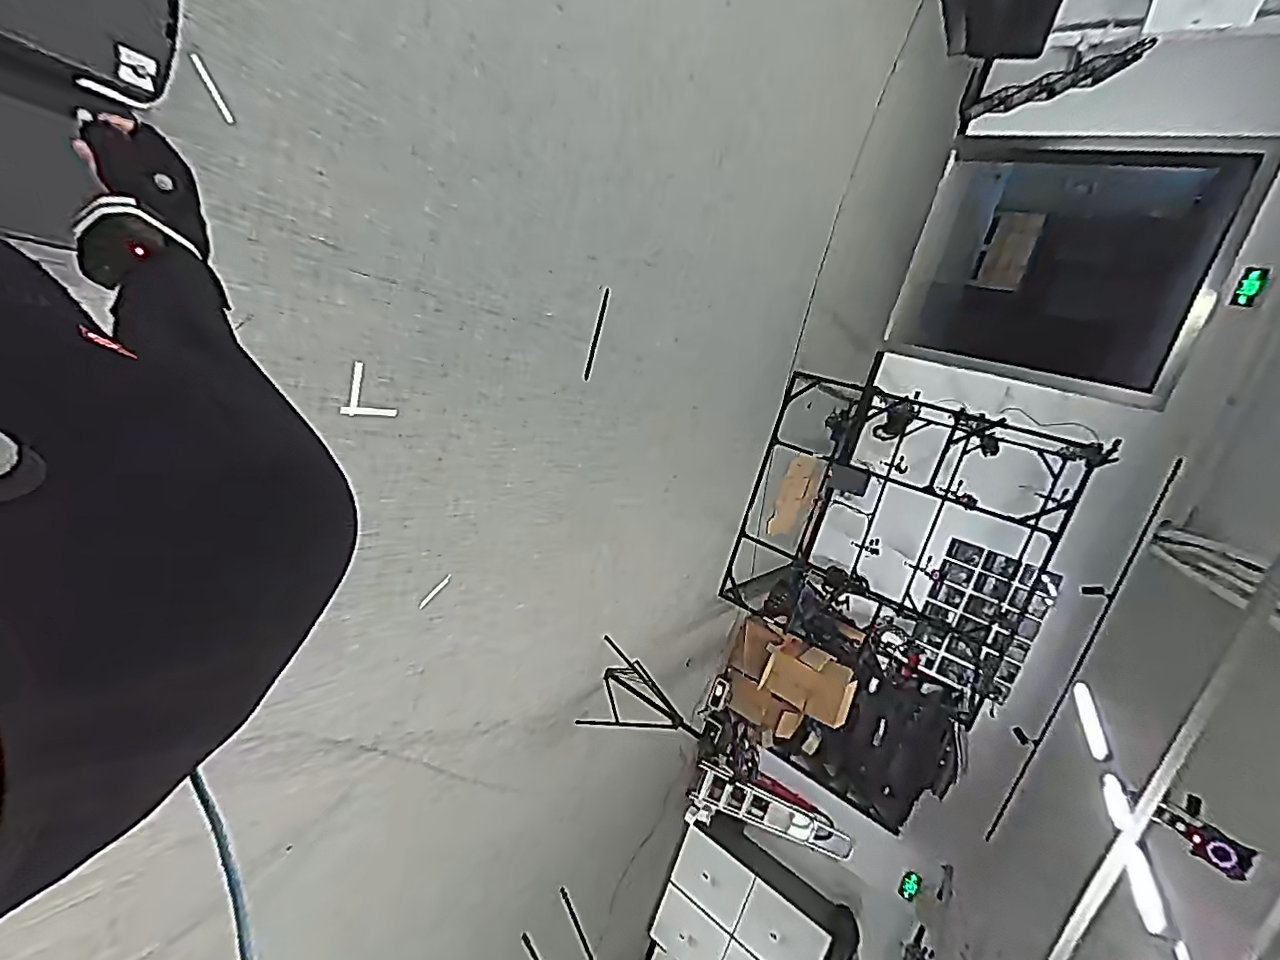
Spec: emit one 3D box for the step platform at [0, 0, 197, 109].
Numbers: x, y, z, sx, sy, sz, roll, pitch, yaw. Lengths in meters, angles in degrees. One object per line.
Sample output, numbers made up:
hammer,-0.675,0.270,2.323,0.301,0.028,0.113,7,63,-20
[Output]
step platform,-1.037,-0.816,0.727,0.684,0.204,0.286,-5,114,-57
